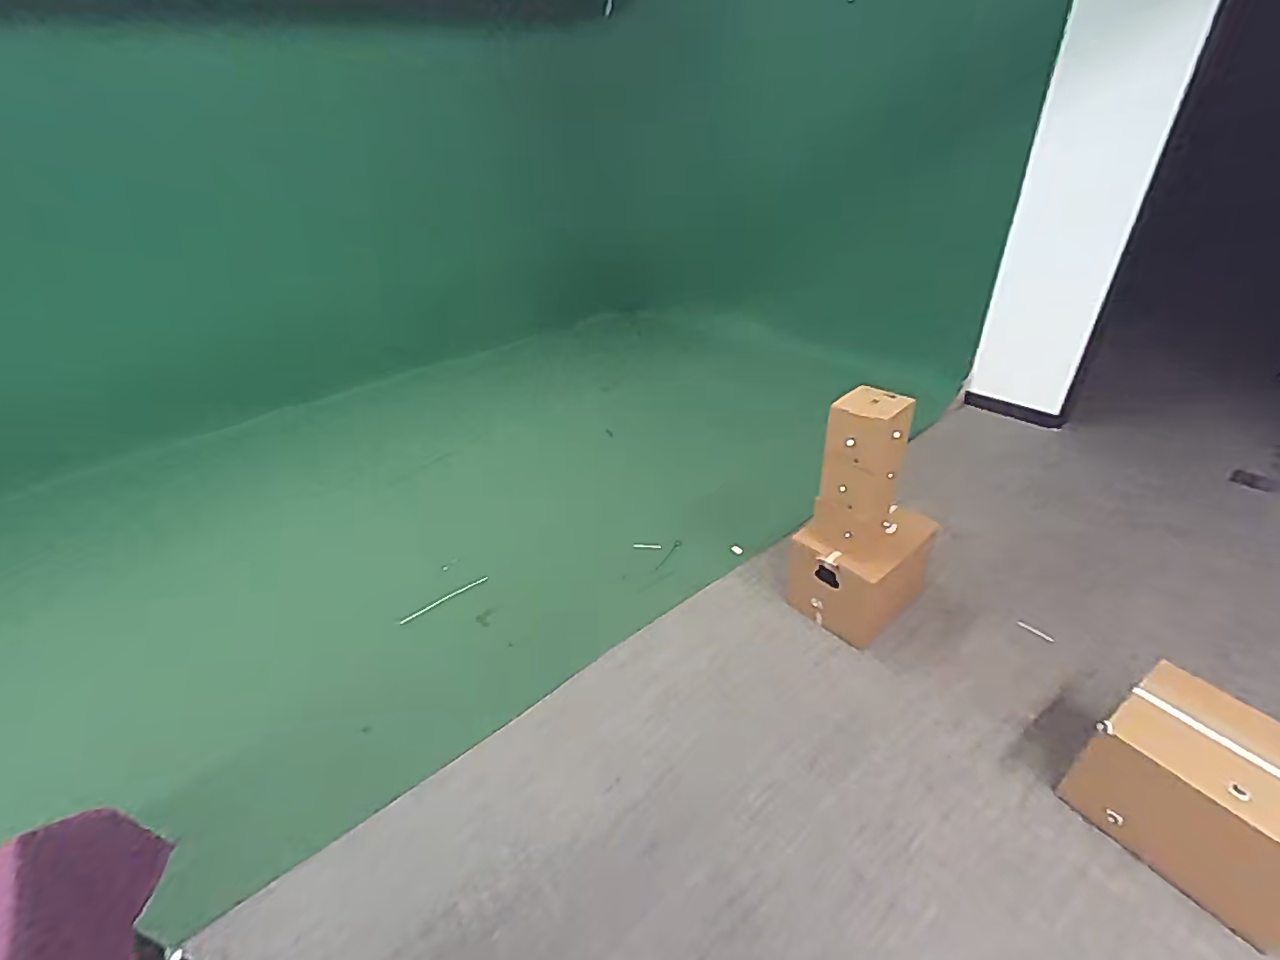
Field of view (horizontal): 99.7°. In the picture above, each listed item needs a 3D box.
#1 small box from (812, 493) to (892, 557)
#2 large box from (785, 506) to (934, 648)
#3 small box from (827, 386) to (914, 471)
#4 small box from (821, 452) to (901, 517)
[{"bbox_3d":[0.679,0.125,1.748,0.168,0.176,0.179,-28,39,-31],"label":"small box"},{"bbox_3d":[0.763,0.305,1.907,0.408,0.320,0.320,-27,40,-30],"label":"large box"},{"bbox_3d":[0.660,-0.148,1.566,0.179,0.176,0.168,-30,41,-32],"label":"small box"},{"bbox_3d":[0.673,-0.013,1.660,0.179,0.176,0.168,-31,42,-34],"label":"small box"}]
